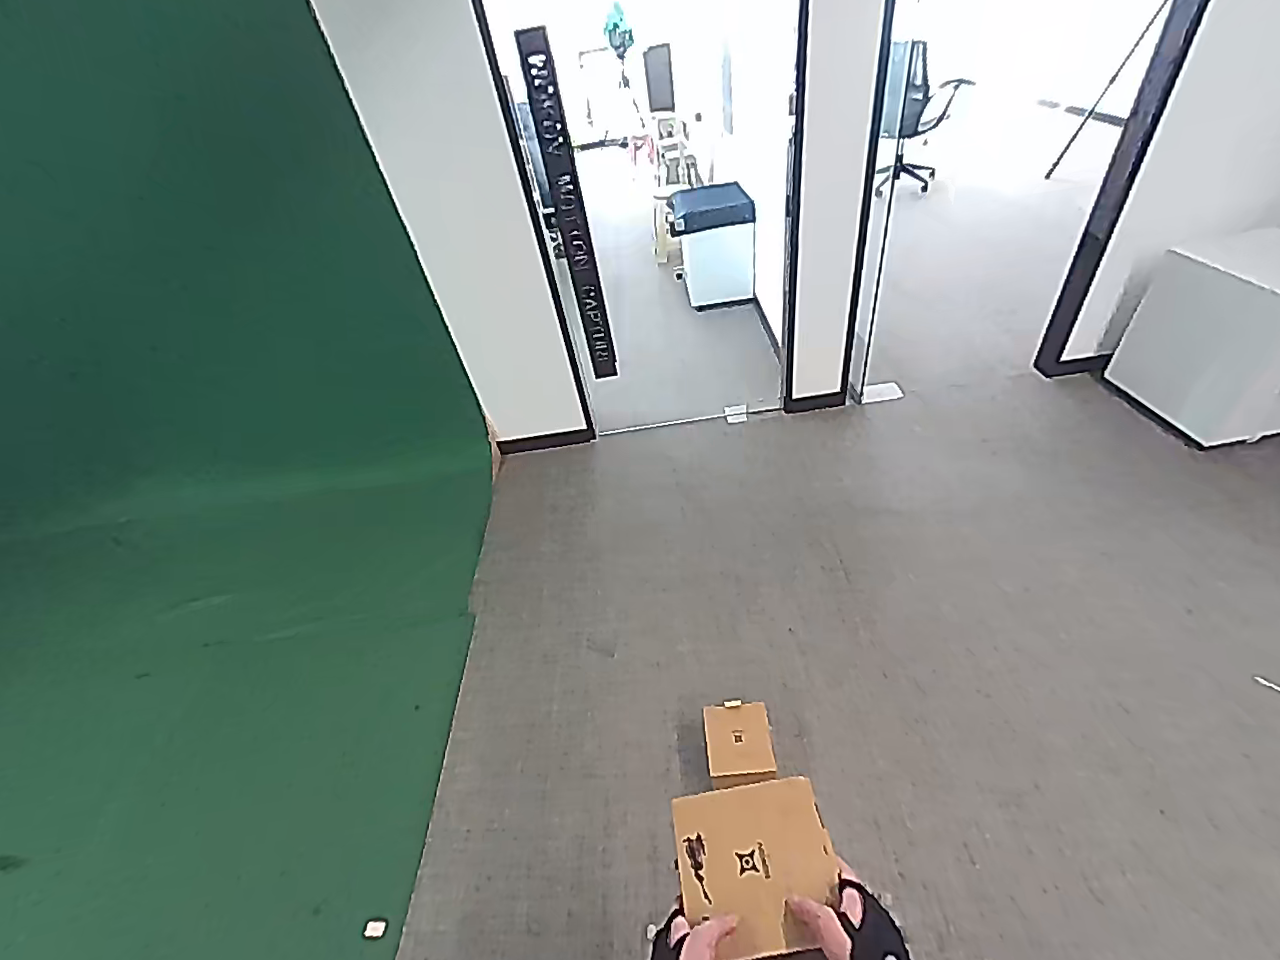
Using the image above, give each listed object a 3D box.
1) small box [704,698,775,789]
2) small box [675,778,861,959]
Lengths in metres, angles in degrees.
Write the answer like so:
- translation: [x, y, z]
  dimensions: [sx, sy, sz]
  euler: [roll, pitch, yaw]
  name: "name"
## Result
- translation: [0.260, 0.698, 1.422]
  dimensions: [0.168, 0.176, 0.179]
  euler: [-7, 42, 8]
  name: "small box"
- translation: [0.145, 0.494, 0.656]
  dimensions: [0.179, 0.176, 0.168]
  euler: [-10, 35, 3]
  name: "small box"
